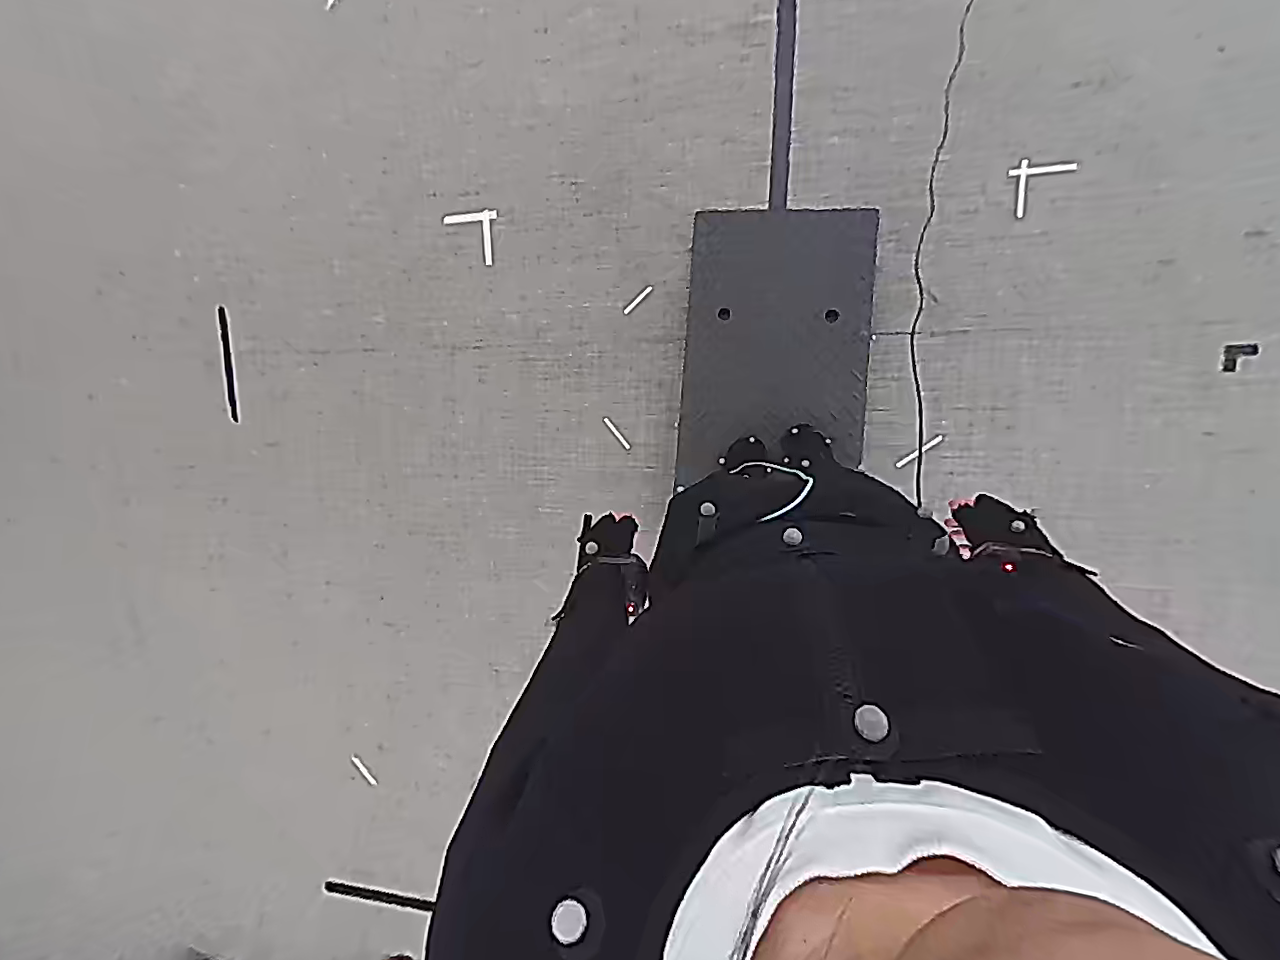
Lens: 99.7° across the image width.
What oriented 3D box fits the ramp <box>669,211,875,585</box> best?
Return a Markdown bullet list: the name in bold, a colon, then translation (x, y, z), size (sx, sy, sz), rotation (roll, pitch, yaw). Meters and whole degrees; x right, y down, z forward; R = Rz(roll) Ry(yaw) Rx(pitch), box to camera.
- **ramp**: translation (0.351, -0.235, 1.467), size (0.509, 0.206, 0.991), rotation (2, 98, 12)
